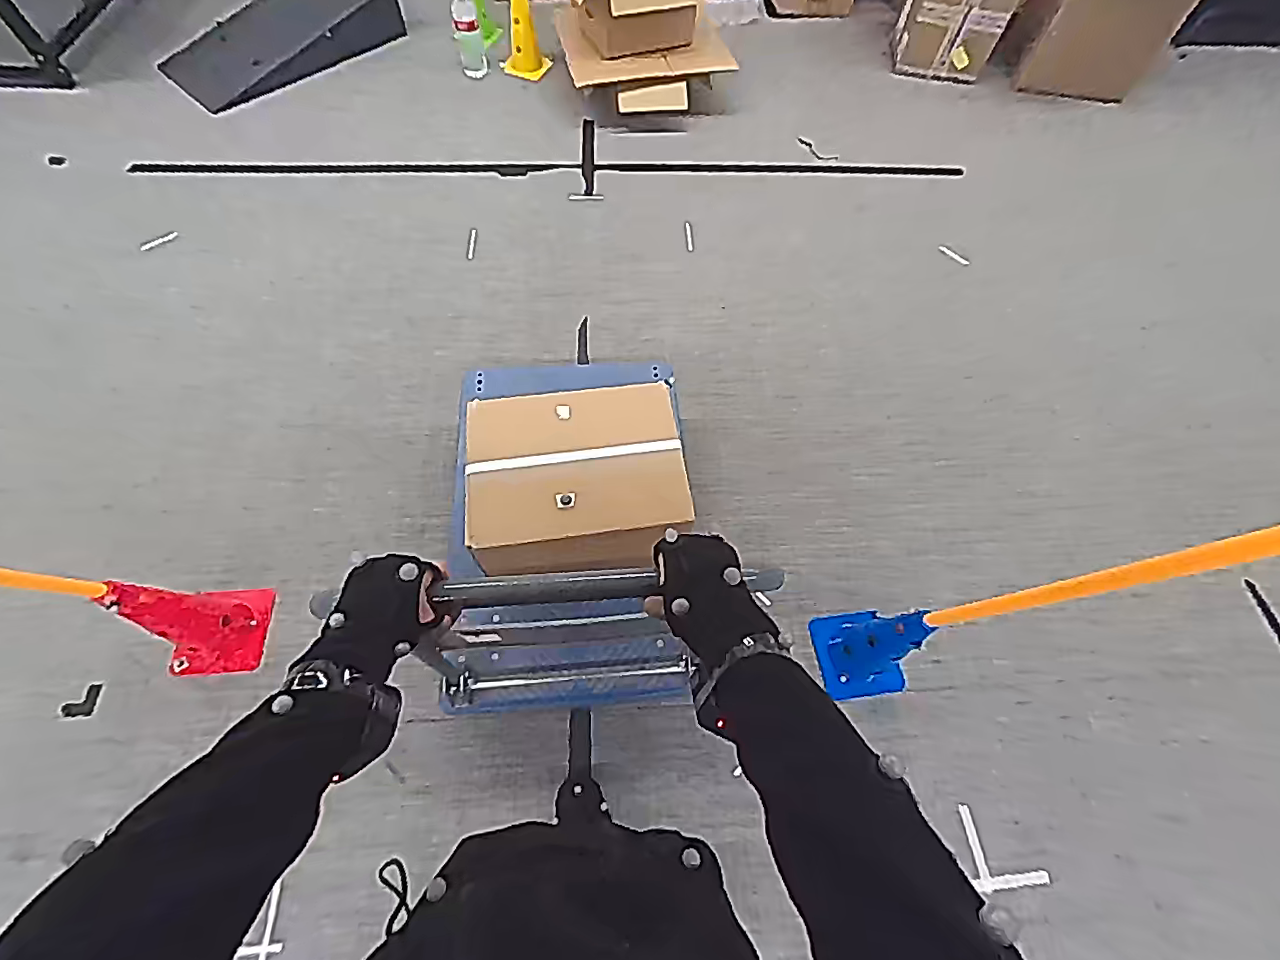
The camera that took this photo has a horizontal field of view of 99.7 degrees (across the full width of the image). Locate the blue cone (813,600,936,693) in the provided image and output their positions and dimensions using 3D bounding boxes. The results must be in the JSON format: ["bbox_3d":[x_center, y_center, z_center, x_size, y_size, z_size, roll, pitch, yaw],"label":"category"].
[{"bbox_3d":[0.550,0.346,1.204,0.193,0.380,0.192,-5,62,-6],"label":"blue cone"}]
